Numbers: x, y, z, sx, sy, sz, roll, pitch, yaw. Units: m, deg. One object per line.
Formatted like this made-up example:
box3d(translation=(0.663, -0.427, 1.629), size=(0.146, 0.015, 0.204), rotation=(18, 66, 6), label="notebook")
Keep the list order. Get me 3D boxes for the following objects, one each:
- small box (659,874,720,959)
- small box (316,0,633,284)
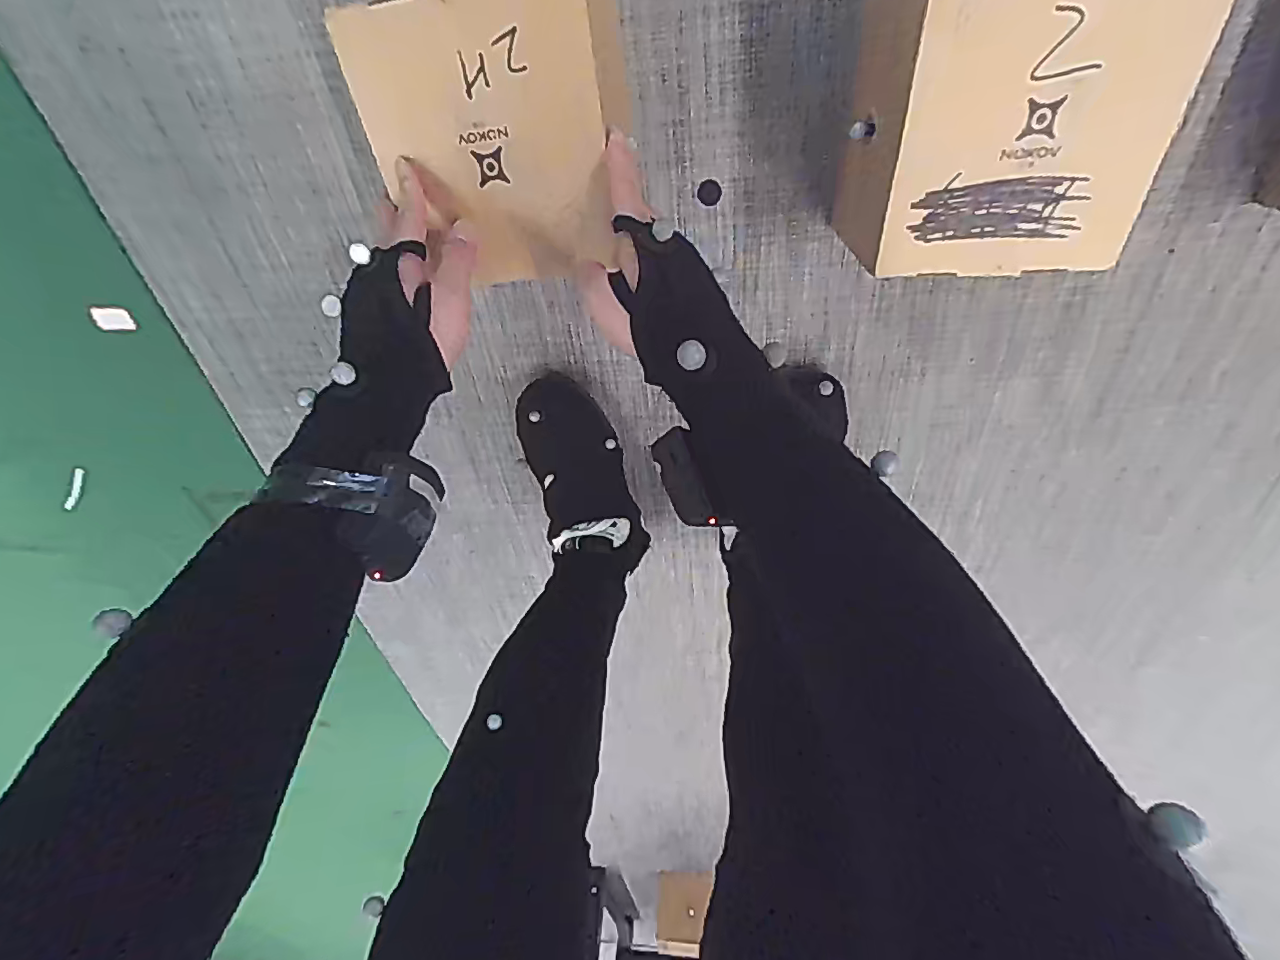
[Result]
box3d(translation=(0.150, 1.324, 1.642), size=(0.179, 0.176, 0.168), rotation=(-1, 127, 7), label="small box")
box3d(translation=(-0.103, -0.278, 0.434), size=(0.168, 0.176, 0.179), rotation=(-3, 127, 8), label="small box")
